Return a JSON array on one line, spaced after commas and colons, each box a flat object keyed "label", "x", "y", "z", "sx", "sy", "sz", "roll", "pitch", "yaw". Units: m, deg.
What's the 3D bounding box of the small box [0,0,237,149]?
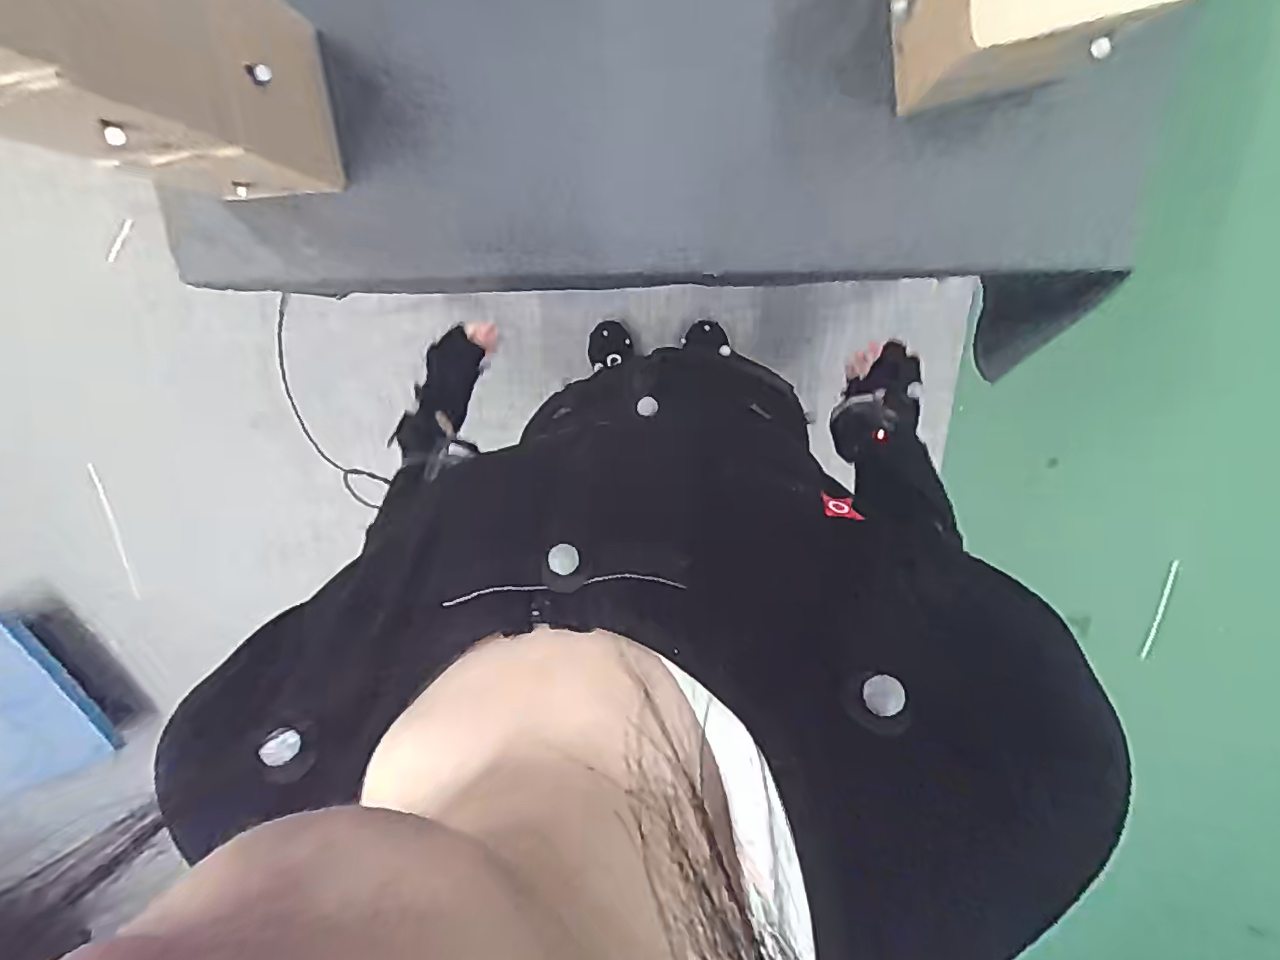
[{"label": "small box", "x": -0.466, "y": -0.376, "z": 0.424, "sx": 0.168, "sy": 0.176, "sz": 0.179, "roll": -1, "pitch": 108, "yaw": 4}]

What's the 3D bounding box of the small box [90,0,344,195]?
[{"label": "small box", "x": -0.456, "y": -0.423, "z": 0.580, "sx": 0.168, "sy": 0.176, "sz": 0.179, "roll": -2, "pitch": 108, "yaw": 5}]

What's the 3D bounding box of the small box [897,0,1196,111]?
[{"label": "small box", "x": 0.354, "y": -0.470, "z": 0.490, "sx": 0.179, "sy": 0.176, "sz": 0.168, "roll": -9, "pitch": 107, "yaw": 8}]
